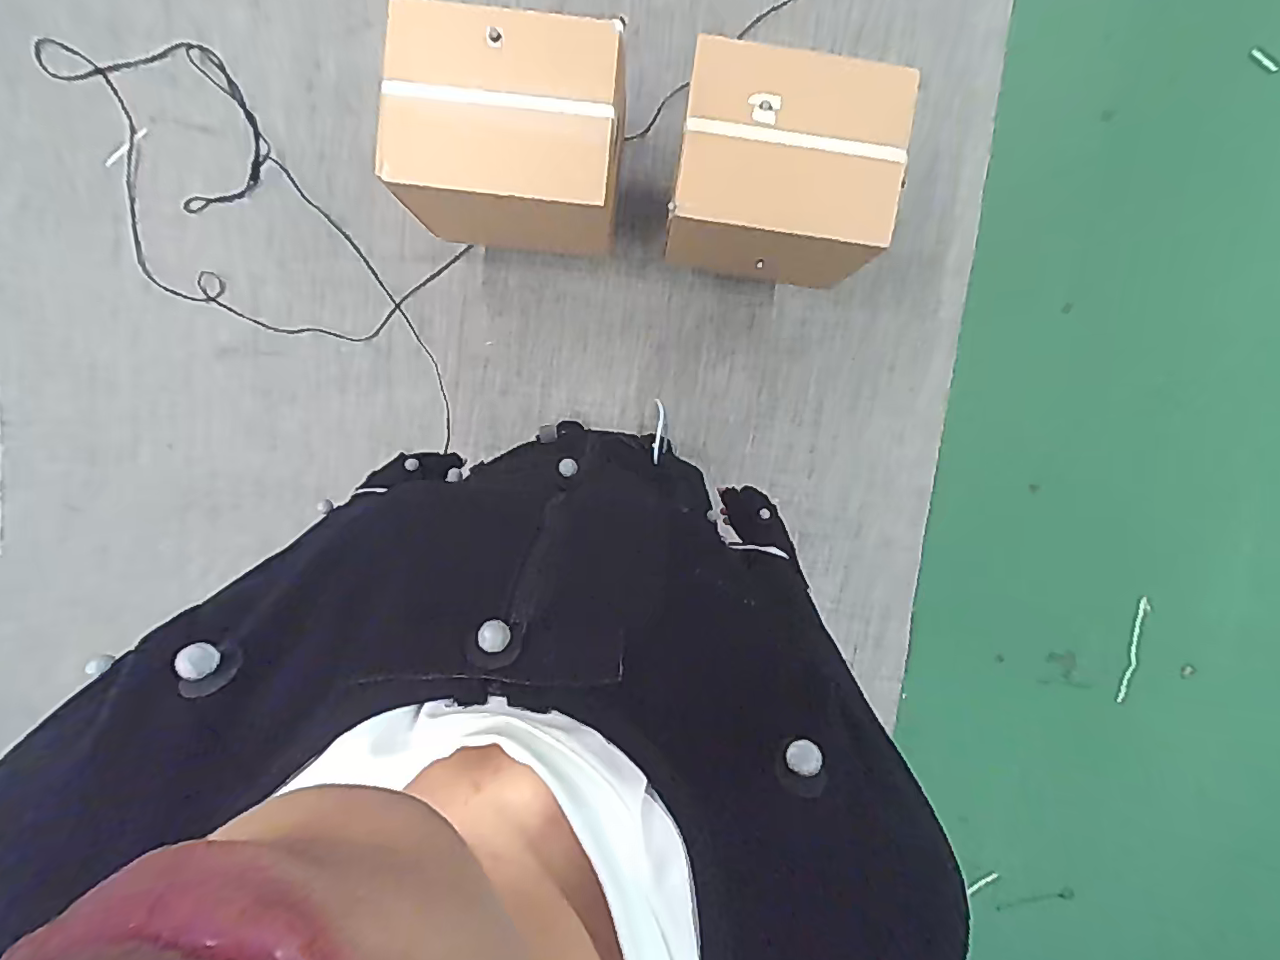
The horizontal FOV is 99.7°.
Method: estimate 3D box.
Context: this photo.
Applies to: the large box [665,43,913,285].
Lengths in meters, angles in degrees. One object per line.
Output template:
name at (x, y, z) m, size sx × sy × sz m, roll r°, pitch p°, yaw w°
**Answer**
large box at (0.279, -0.622, 1.132) m, size 0.408 × 0.320 × 0.320 m, roll 8°, pitch 95°, yaw -2°
